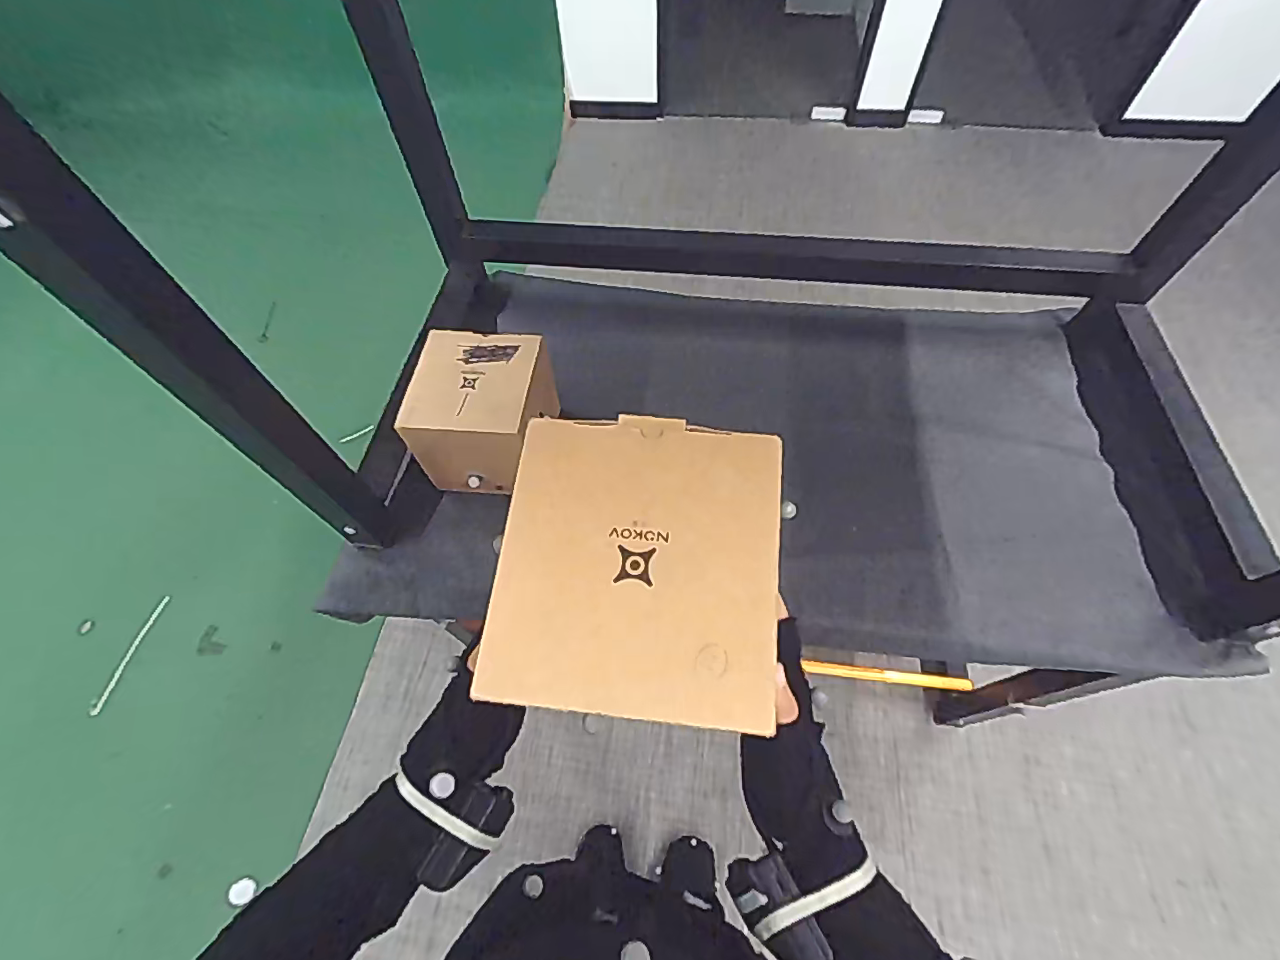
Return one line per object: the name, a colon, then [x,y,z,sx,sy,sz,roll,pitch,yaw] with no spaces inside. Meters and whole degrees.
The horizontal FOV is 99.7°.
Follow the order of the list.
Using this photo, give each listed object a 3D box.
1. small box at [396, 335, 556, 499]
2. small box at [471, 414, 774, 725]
small box: [-0.226,-0.089,0.803,0.168,0.176,0.179,3,59,4]
small box: [0.001,0.072,0.393,0.168,0.176,0.179,4,67,6]
